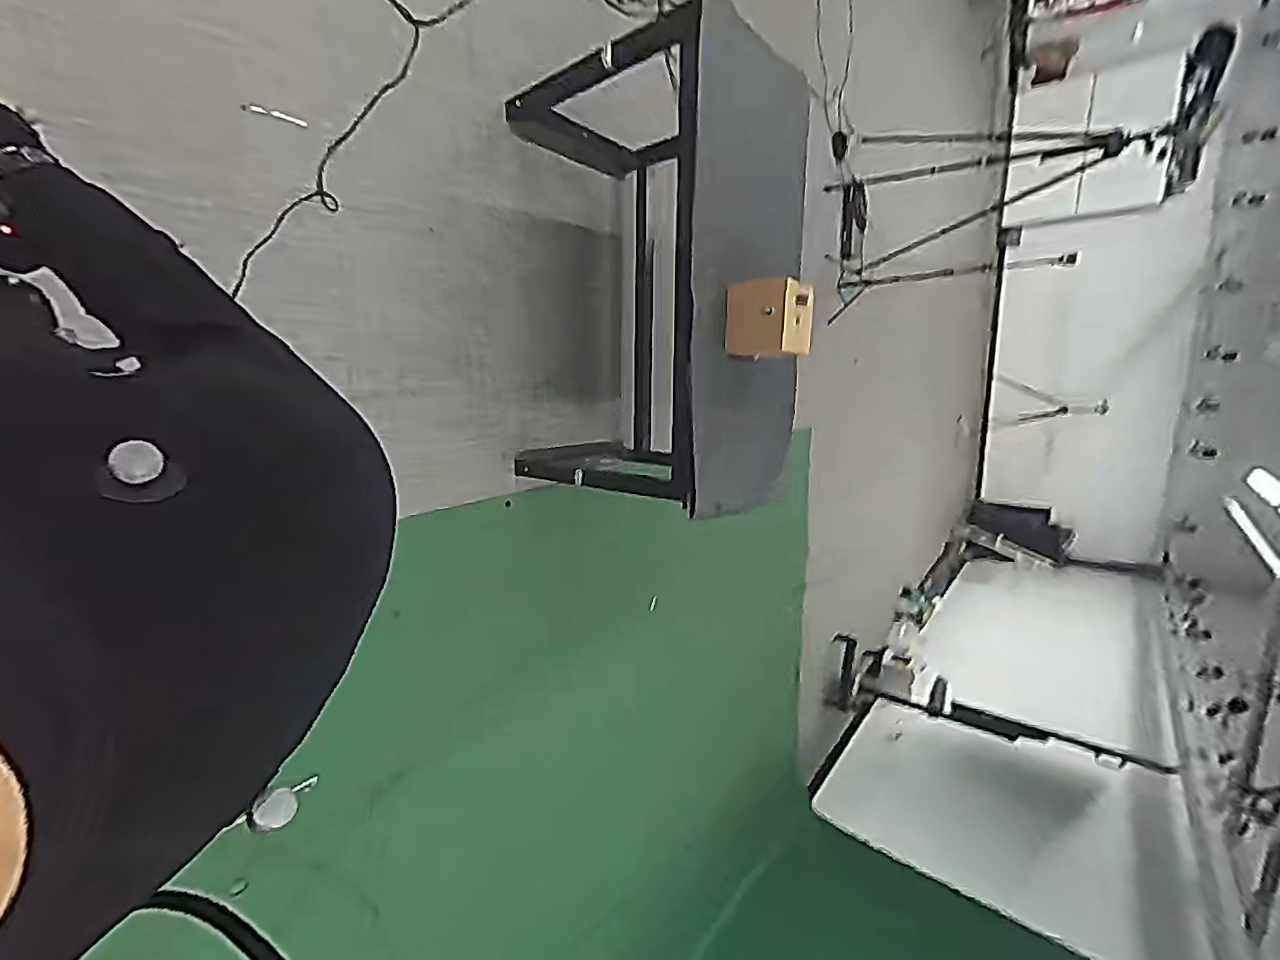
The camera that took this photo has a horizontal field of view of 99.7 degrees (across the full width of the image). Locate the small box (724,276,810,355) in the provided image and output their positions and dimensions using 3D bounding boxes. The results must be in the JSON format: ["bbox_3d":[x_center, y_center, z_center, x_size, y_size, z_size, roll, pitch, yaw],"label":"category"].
[{"bbox_3d":[0.336,-0.428,1.434,0.168,0.176,0.179,-9,104,-49],"label":"small box"}]
